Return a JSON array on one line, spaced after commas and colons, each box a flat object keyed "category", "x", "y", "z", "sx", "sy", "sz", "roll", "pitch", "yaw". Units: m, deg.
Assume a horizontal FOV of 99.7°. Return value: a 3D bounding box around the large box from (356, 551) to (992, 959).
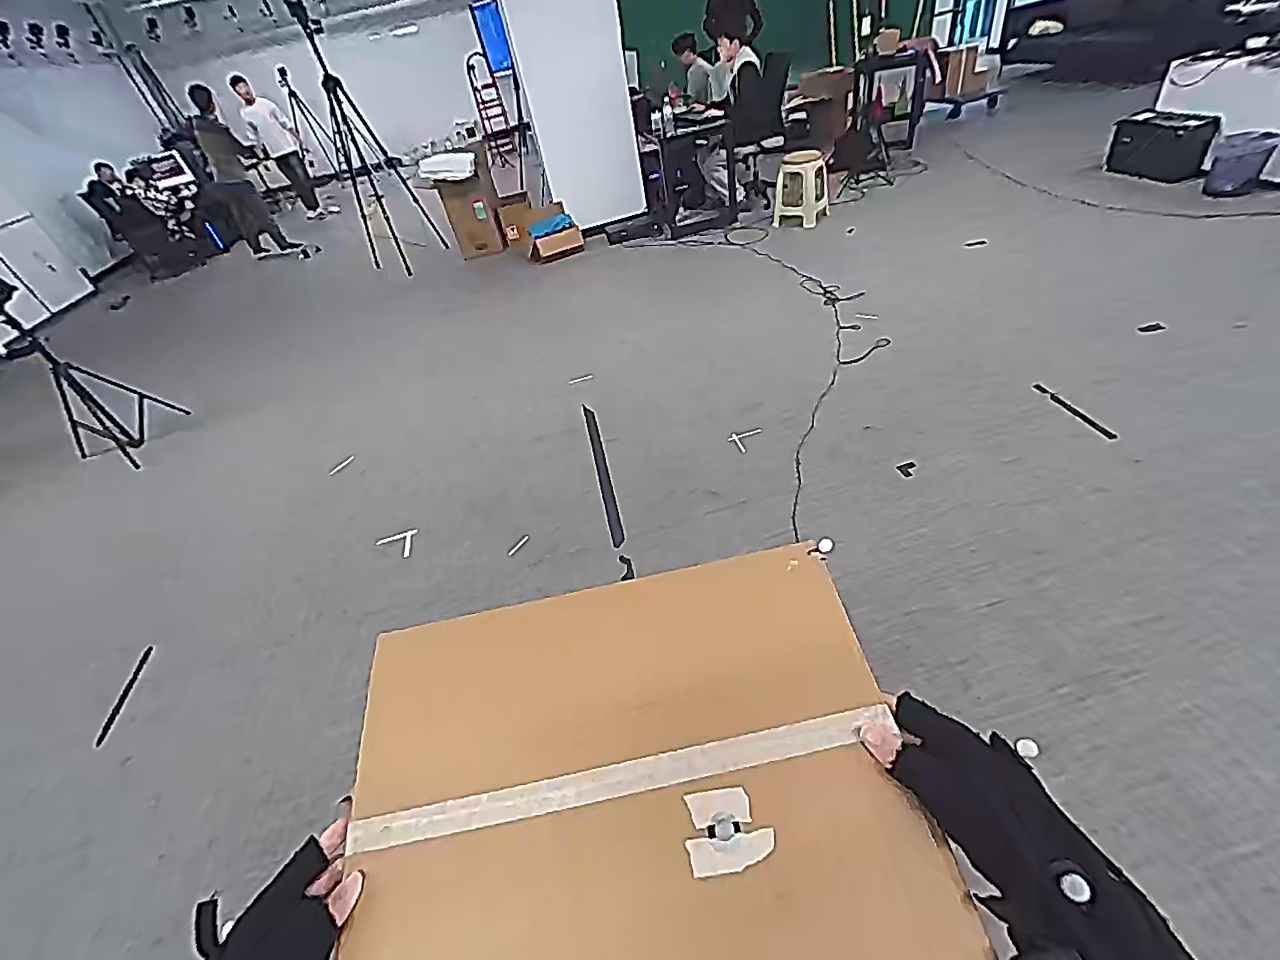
[{"category": "large box", "x": 0.009, "y": 0.317, "z": 0.522, "sx": 0.408, "sy": 0.320, "sz": 0.320, "roll": -12, "pitch": 52, "yaw": -1}]
